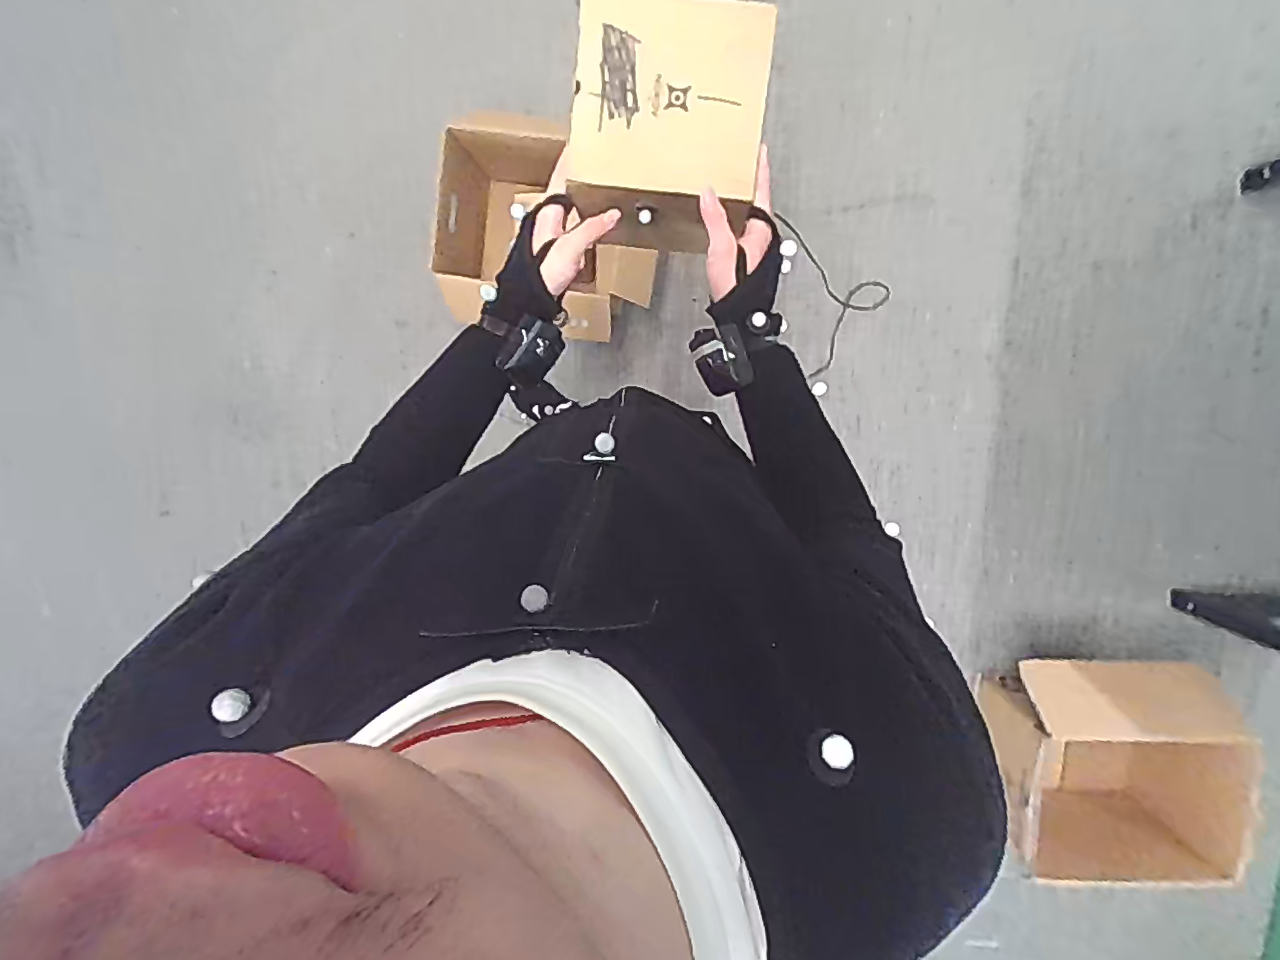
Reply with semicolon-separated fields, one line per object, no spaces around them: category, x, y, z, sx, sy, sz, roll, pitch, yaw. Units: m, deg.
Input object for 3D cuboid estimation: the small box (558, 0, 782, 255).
small box;0.029;-0.347;0.557;0.179;0.176;0.168;10;98;2
